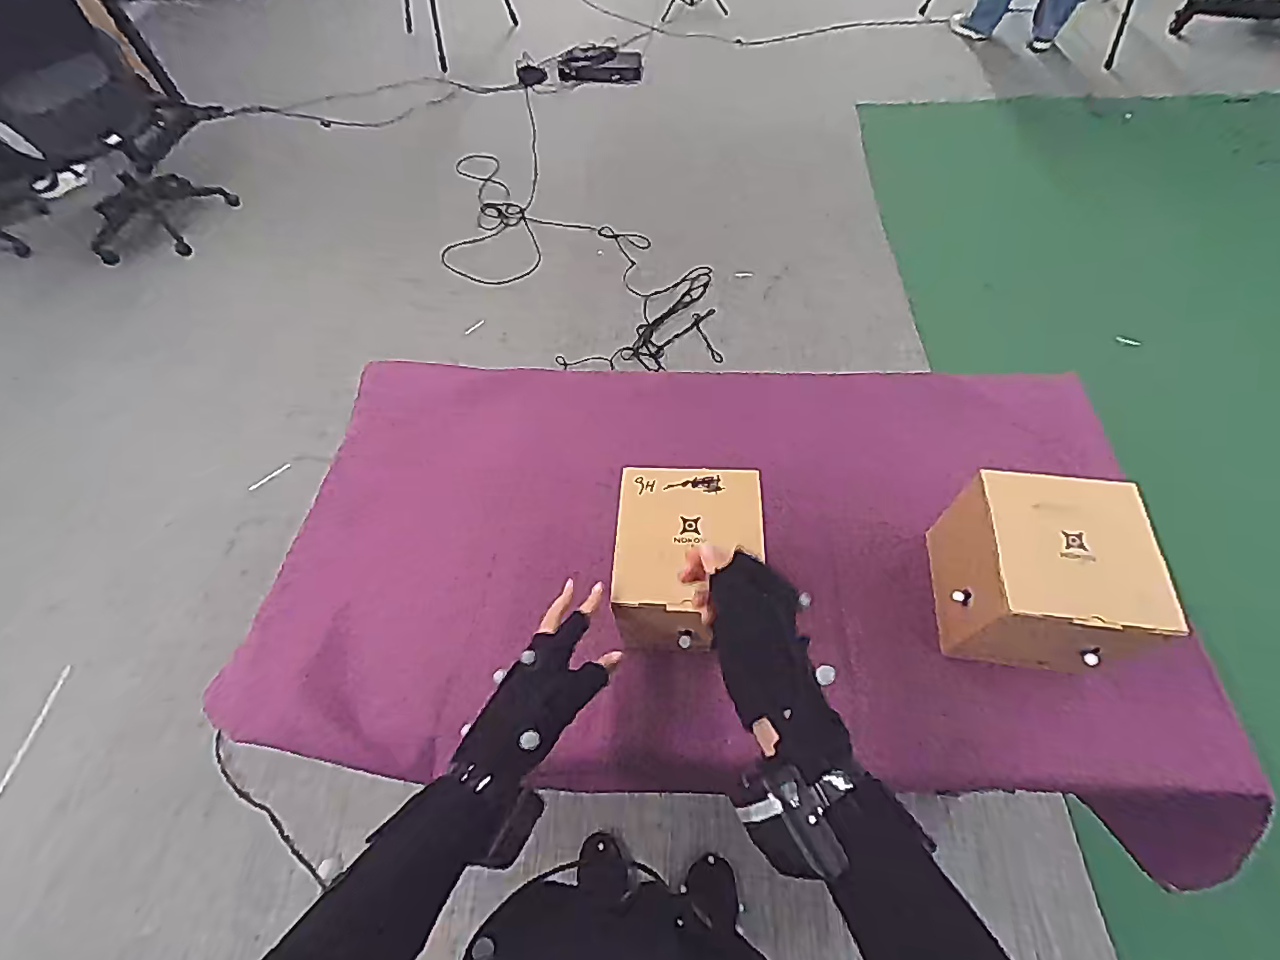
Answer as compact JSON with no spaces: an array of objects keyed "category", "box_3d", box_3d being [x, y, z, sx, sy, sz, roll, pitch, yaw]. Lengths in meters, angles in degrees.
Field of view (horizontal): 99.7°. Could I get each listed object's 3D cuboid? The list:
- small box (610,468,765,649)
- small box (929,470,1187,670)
[{"category":"small box","box_3d":[0.060,0.103,0.673,0.168,0.176,0.179,2,58,5]},{"category":"small box","box_3d":[0.465,0.111,0.639,0.168,0.176,0.179,6,58,8]}]
